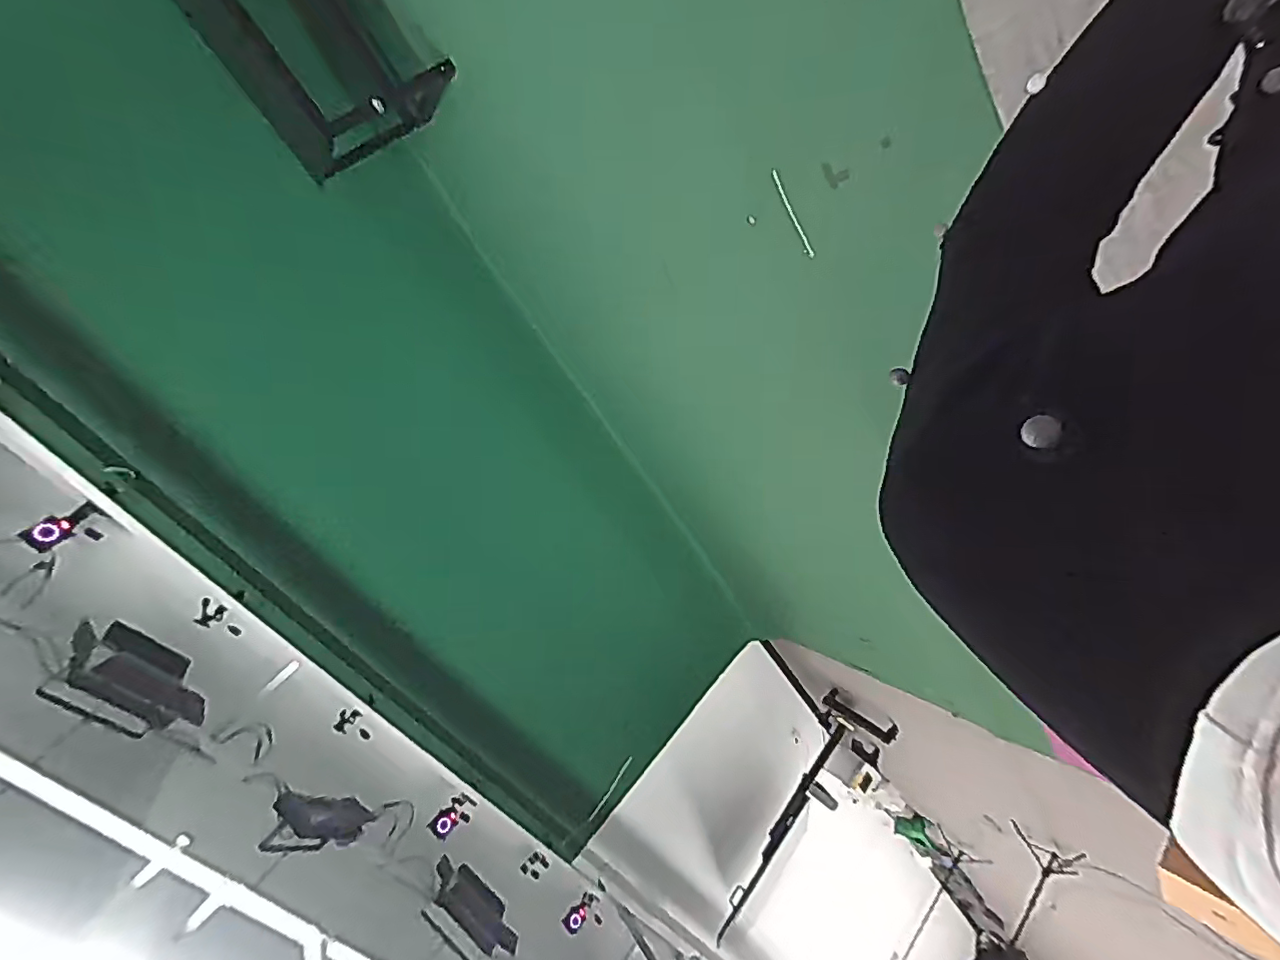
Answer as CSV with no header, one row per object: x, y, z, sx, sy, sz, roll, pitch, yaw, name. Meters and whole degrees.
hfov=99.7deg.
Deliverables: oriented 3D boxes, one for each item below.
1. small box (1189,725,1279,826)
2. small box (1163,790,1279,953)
1.258,0.636,1.092,0.179,0.176,0.168,16,146,55,small box
1.148,0.743,1.035,0.179,0.176,0.168,15,144,55,small box
